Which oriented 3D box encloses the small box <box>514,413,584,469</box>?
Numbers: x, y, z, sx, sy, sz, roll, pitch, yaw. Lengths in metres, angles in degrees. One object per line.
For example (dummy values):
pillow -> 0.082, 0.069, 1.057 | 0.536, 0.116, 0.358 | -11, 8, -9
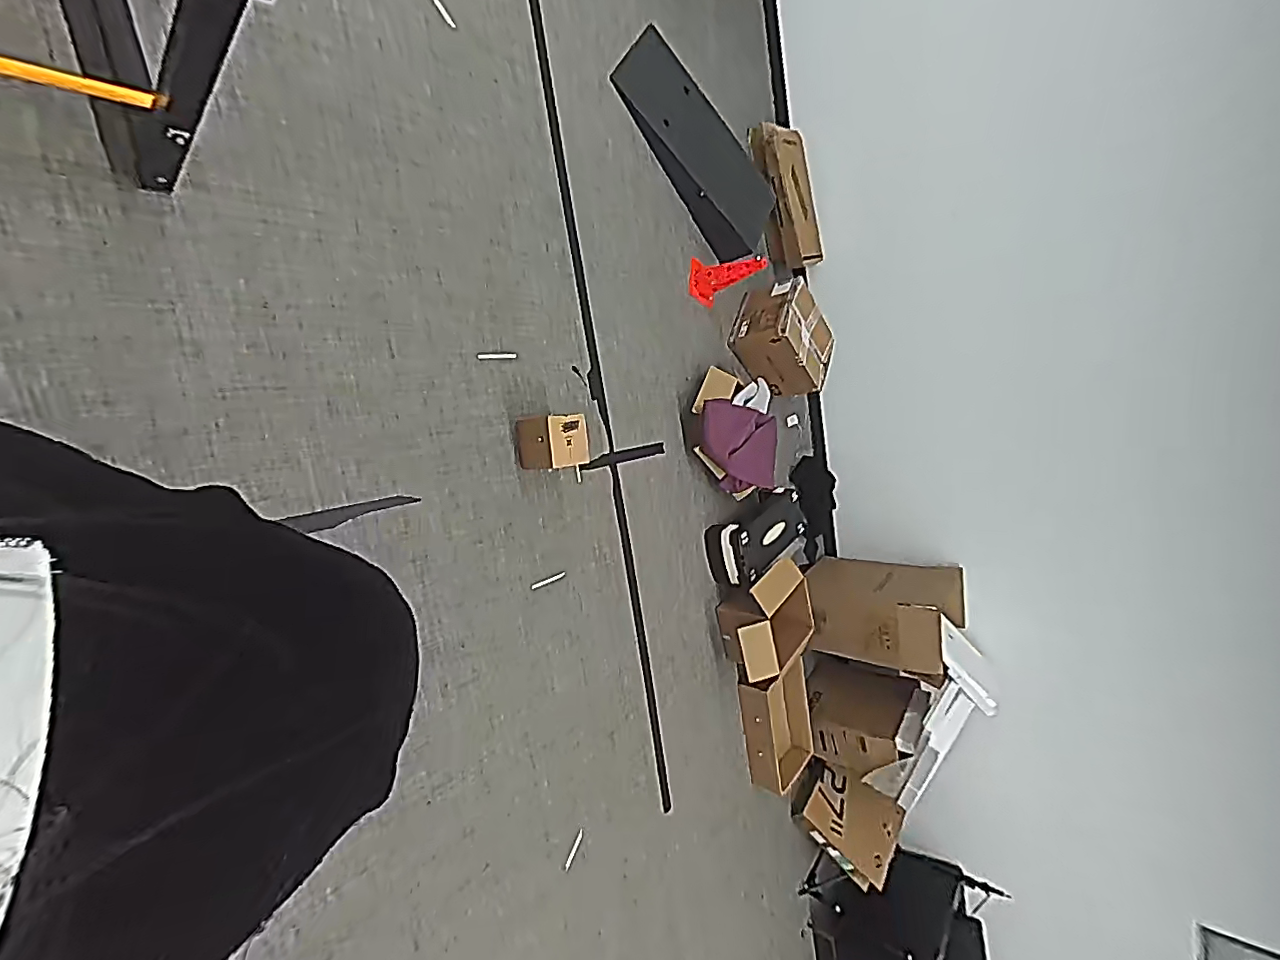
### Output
small box -> -0.317, -0.133, 1.863 | 0.168, 0.176, 0.179 | -11, 98, -48
